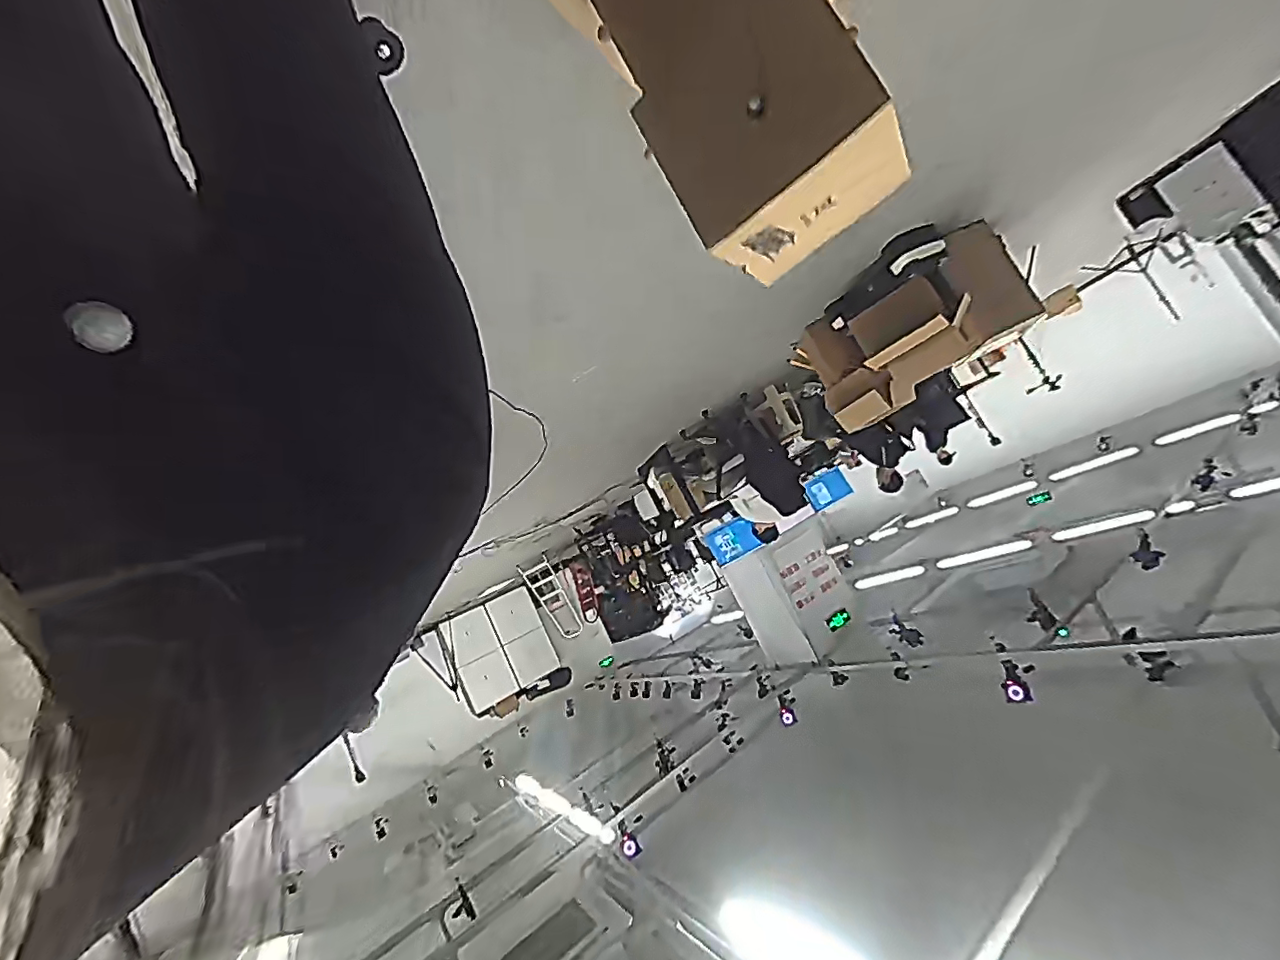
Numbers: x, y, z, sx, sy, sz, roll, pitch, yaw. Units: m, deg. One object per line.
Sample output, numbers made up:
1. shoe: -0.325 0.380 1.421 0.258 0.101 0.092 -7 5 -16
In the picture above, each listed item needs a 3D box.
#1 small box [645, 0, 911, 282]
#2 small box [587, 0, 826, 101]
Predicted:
1. small box: 0.126 -0.327 0.523 0.179 0.176 0.168 -31 170 34
2. small box: 0.061 -0.478 0.537 0.179 0.176 0.168 -30 171 27
